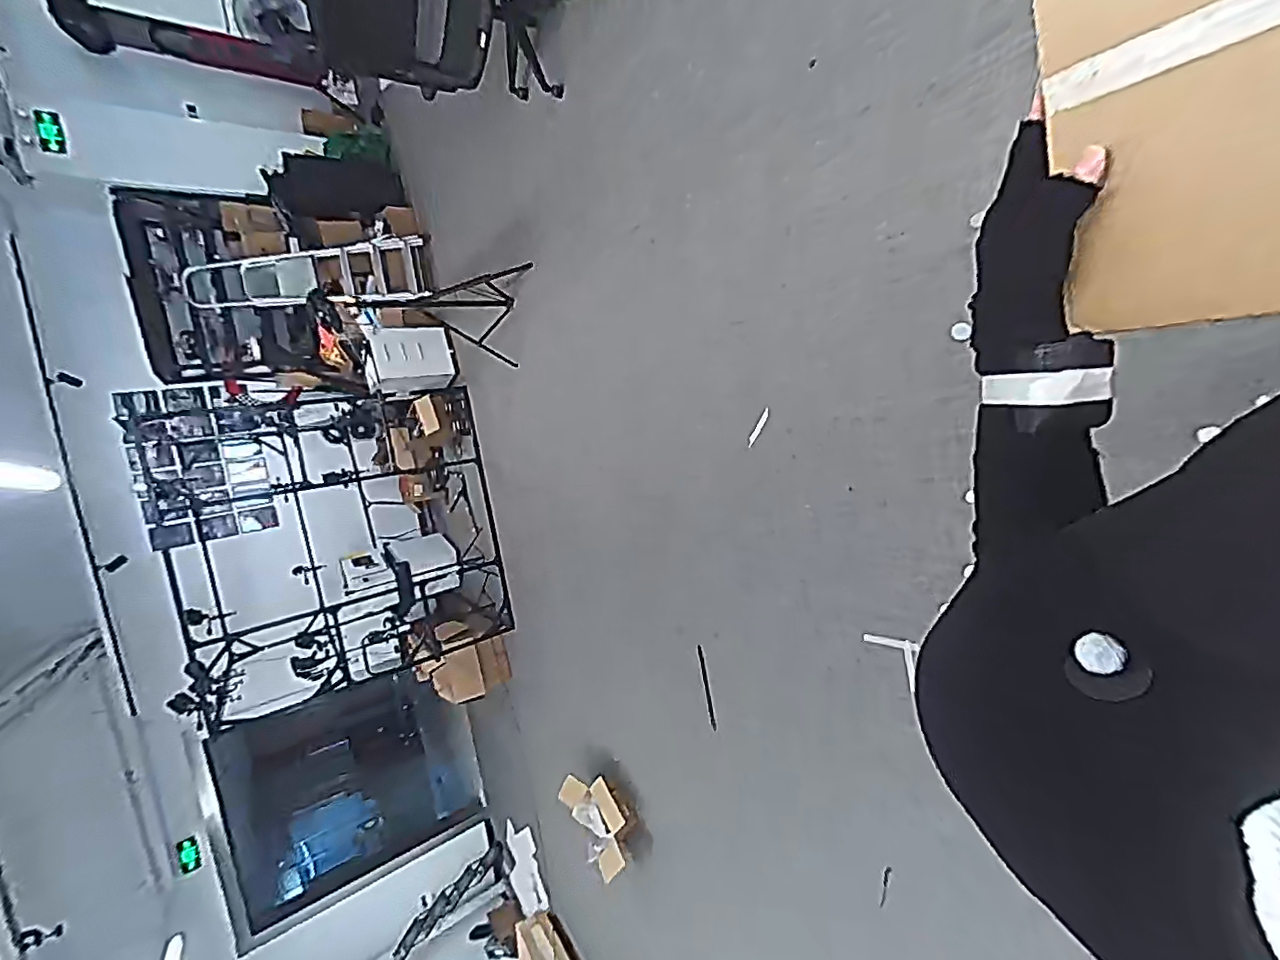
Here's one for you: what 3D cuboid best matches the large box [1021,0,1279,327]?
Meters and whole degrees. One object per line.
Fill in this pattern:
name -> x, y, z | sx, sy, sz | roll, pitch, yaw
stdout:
large box -> 0.477, -0.302, 0.256 | 0.408, 0.320, 0.320 | 7, 122, 55
